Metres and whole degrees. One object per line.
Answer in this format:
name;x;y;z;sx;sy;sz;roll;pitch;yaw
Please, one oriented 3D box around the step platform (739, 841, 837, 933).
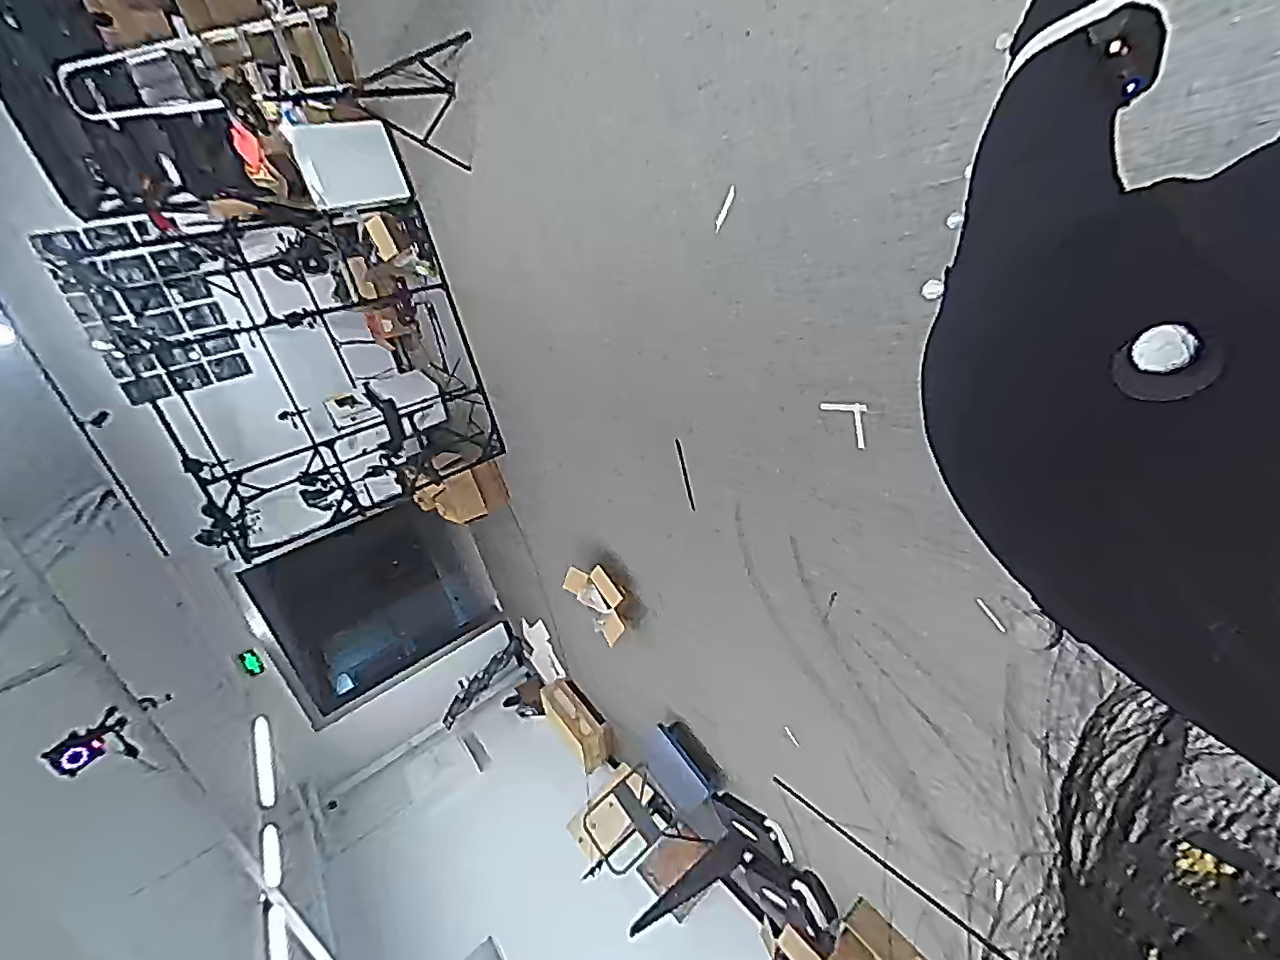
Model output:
step platform;0.952;2.675;3.573;0.286;0.204;0.684;61;150;3
